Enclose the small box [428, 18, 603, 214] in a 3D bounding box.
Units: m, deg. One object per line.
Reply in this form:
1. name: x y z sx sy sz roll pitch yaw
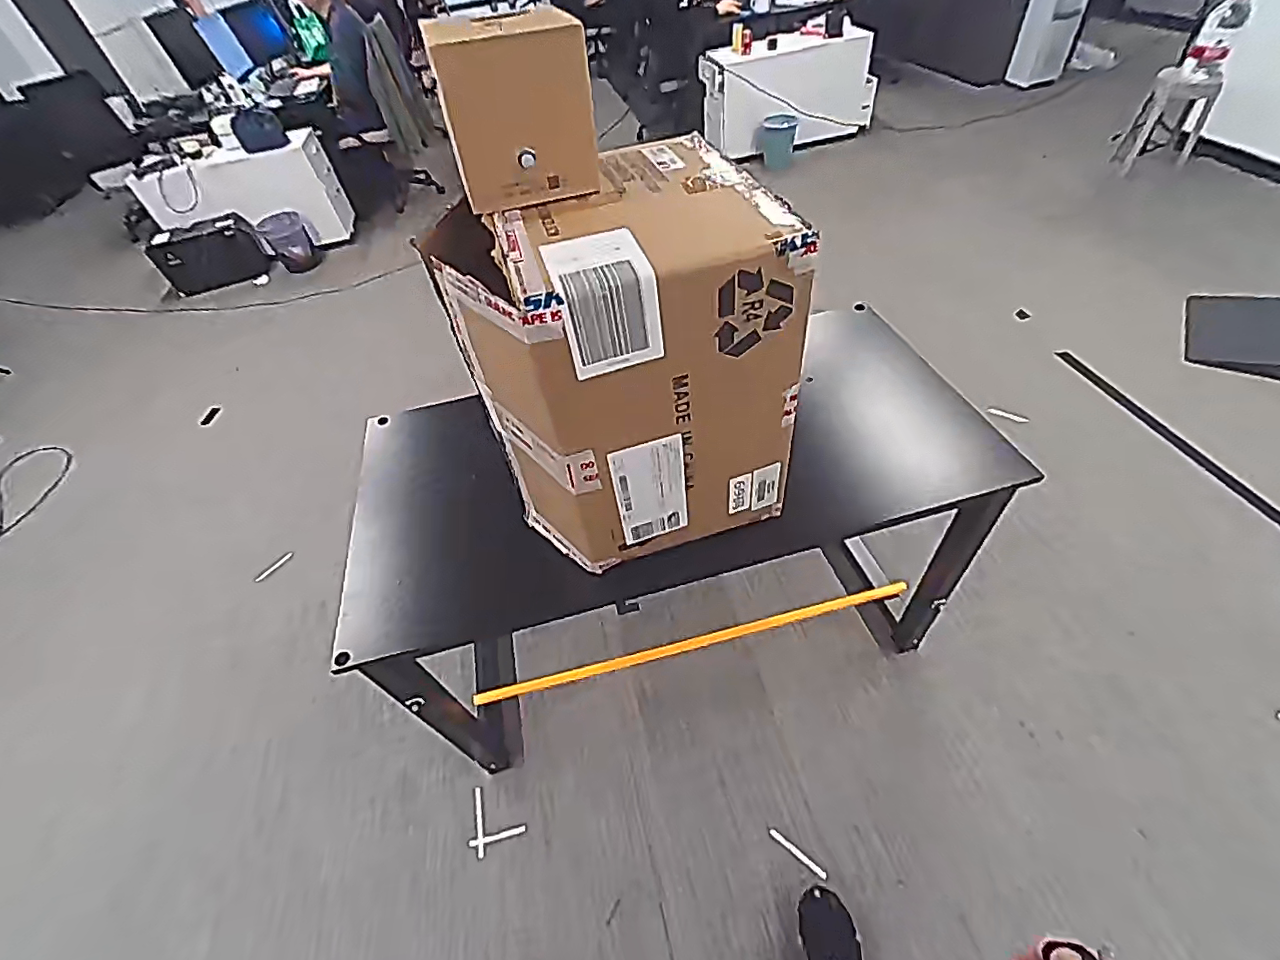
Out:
1. small box: -0.152 -0.454 0.676 0.168 0.176 0.179 -17 47 -10
